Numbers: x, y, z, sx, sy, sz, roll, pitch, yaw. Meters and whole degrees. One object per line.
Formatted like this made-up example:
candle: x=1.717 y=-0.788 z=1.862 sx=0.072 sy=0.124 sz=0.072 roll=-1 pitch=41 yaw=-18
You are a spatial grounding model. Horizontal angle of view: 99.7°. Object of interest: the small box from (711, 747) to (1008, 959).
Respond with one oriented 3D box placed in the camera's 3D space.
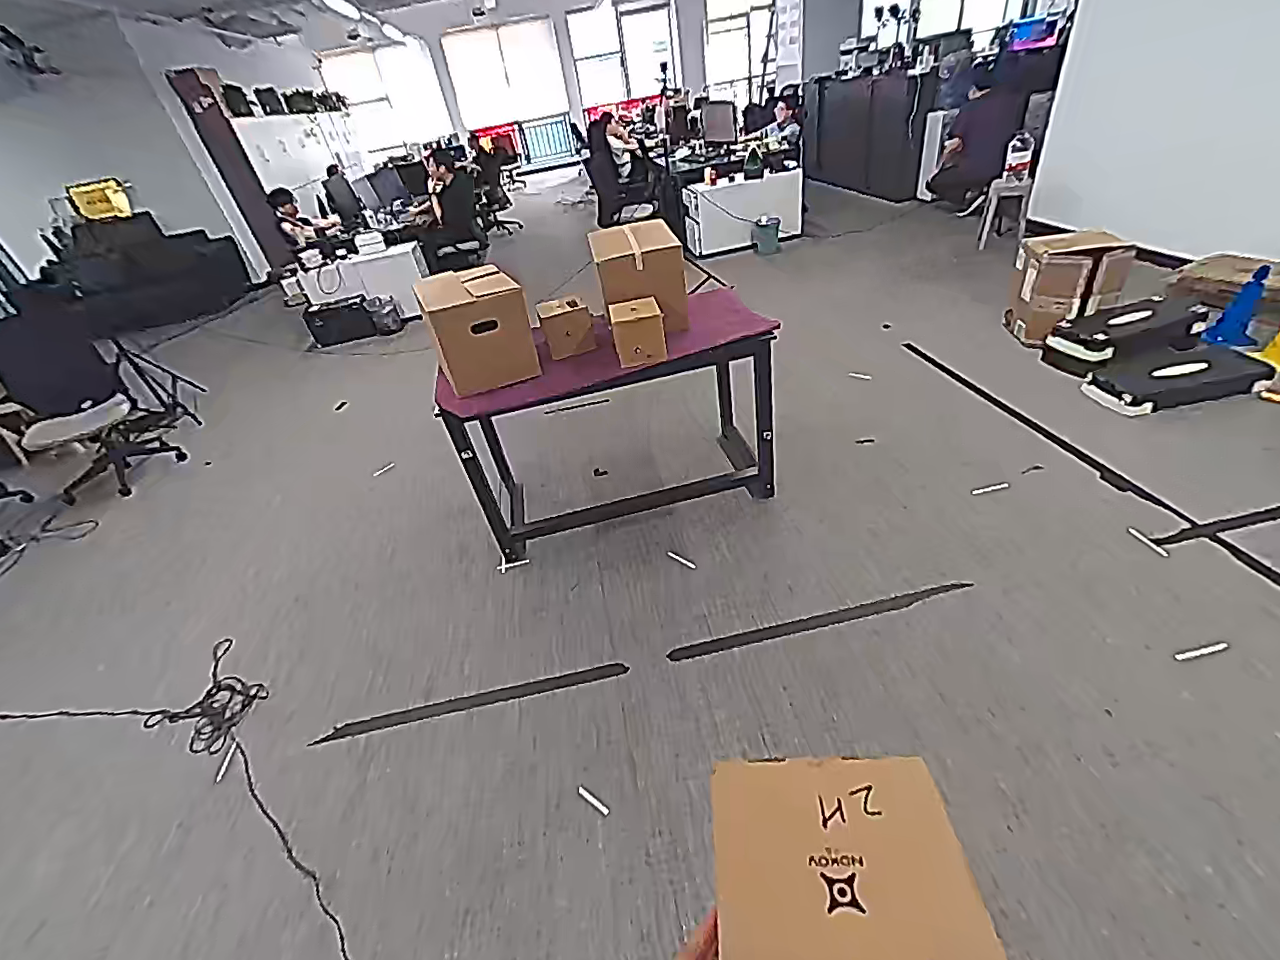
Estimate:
small box: x=0.142 y=0.325 z=0.390 sx=0.168 sy=0.176 sz=0.179 roll=-5 pitch=27 yaw=7
